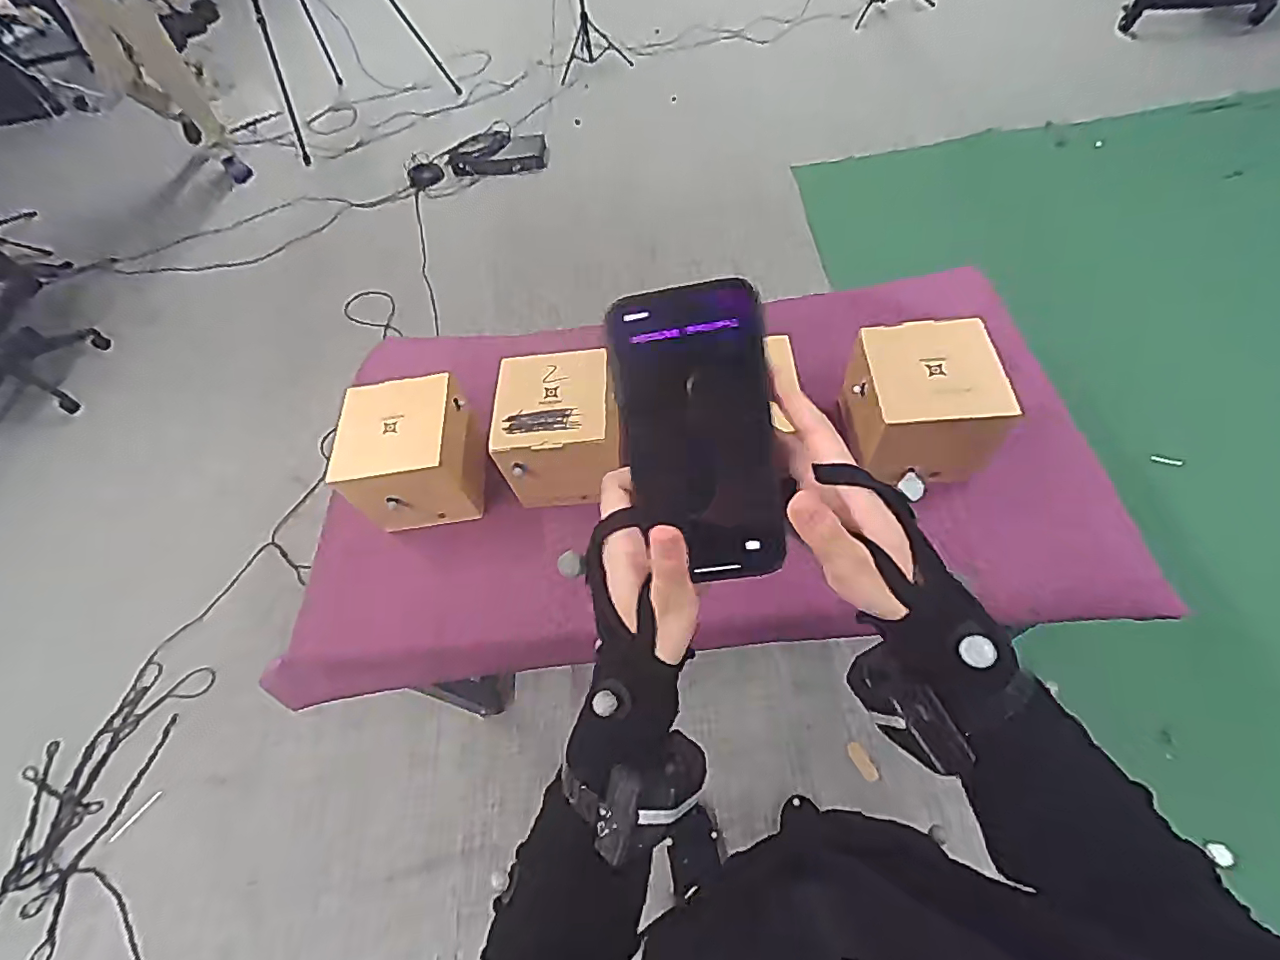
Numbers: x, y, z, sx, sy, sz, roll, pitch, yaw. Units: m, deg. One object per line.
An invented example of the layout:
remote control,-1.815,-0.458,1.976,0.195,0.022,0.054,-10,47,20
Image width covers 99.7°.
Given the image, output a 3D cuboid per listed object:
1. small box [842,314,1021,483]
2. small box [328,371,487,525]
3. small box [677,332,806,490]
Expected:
small box,0.404,-0.114,0.789,0.168,0.176,0.179,-3,59,8
small box,-0.351,-0.041,0.855,0.168,0.176,0.179,-9,57,3
small box,0.145,-0.094,0.814,0.168,0.176,0.179,-4,58,5
